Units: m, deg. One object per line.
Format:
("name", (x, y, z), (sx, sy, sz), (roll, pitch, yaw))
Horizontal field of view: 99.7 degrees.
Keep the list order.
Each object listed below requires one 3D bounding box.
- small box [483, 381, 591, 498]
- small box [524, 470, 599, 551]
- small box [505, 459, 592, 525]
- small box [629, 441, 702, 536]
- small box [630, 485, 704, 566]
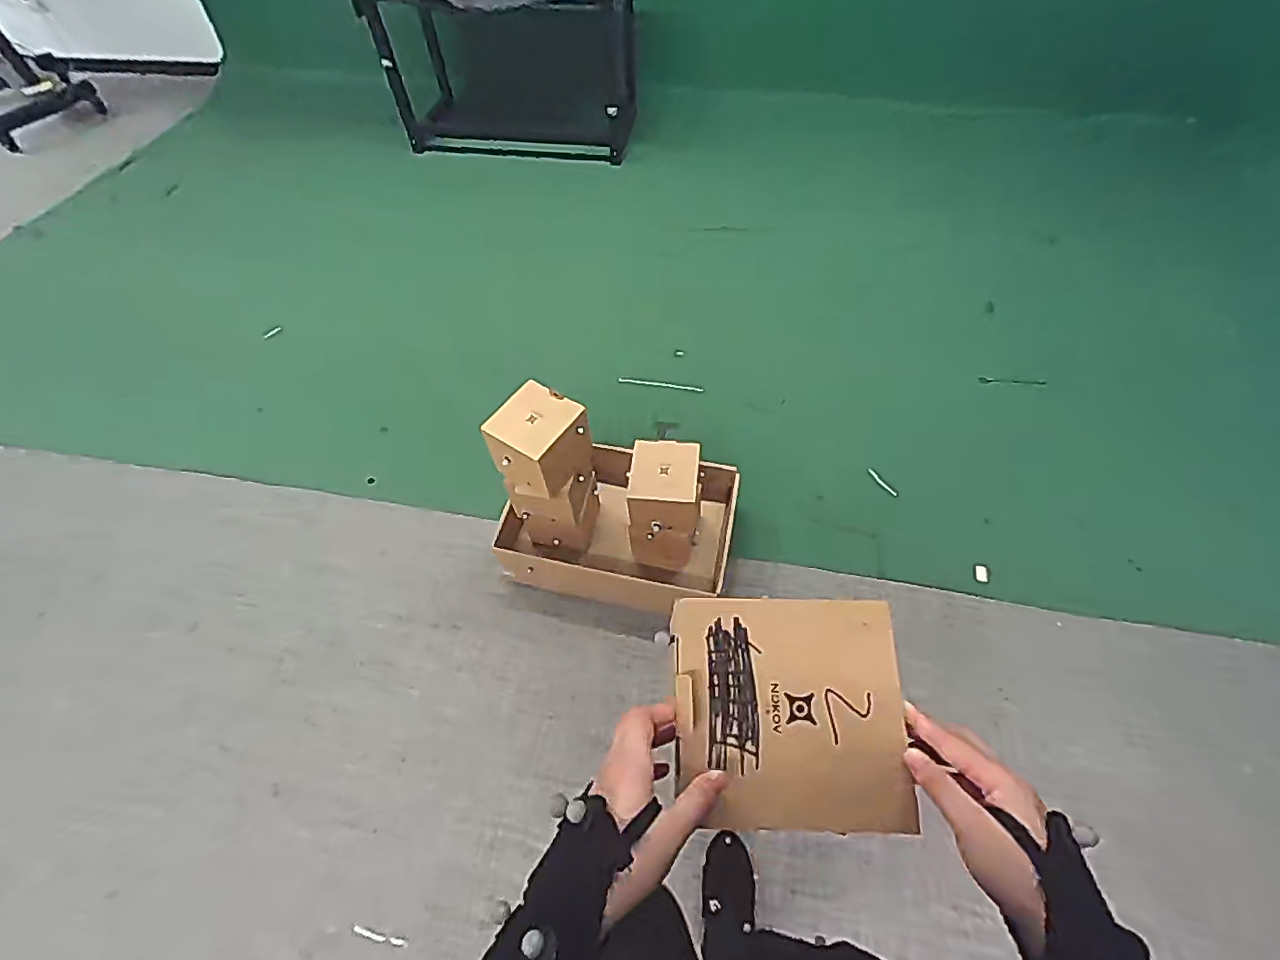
("small box", (-0.228, -0.089, 1.255), (0.168, 0.176, 0.179), (29, 61, 19))
("small box", (-0.214, 0.078, 1.535), (0.168, 0.176, 0.179), (8, 57, 7))
("small box", (-0.226, -0.005, 1.394), (0.168, 0.176, 0.179), (10, 56, 7))
("small box", (0.068, 0.022, 1.370), (0.168, 0.176, 0.179), (4, 58, 7))
("small box", (0.075, 0.111, 1.507), (0.168, 0.176, 0.179), (13, 58, 11))
